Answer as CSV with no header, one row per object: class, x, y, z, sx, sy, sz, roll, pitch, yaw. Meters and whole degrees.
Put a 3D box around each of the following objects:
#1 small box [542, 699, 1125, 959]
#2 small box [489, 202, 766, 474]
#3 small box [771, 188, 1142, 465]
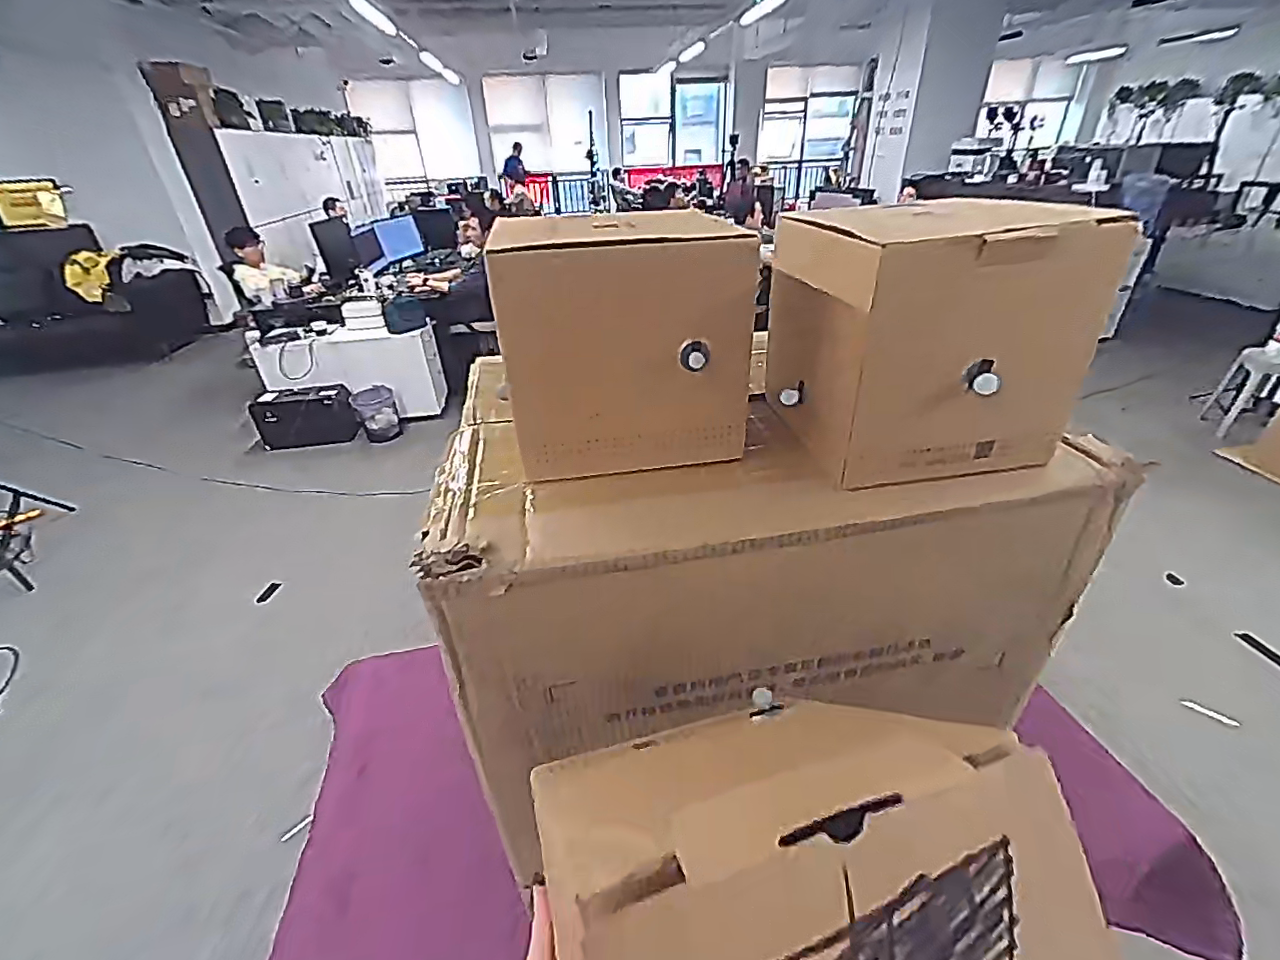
small box,0.059,0.198,0.221,0.168,0.176,0.179,-8,75,-18
small box,-0.015,-0.121,0.439,0.179,0.176,0.168,-7,31,-7
small box,0.211,-0.121,0.423,0.168,0.176,0.179,-7,32,-5
